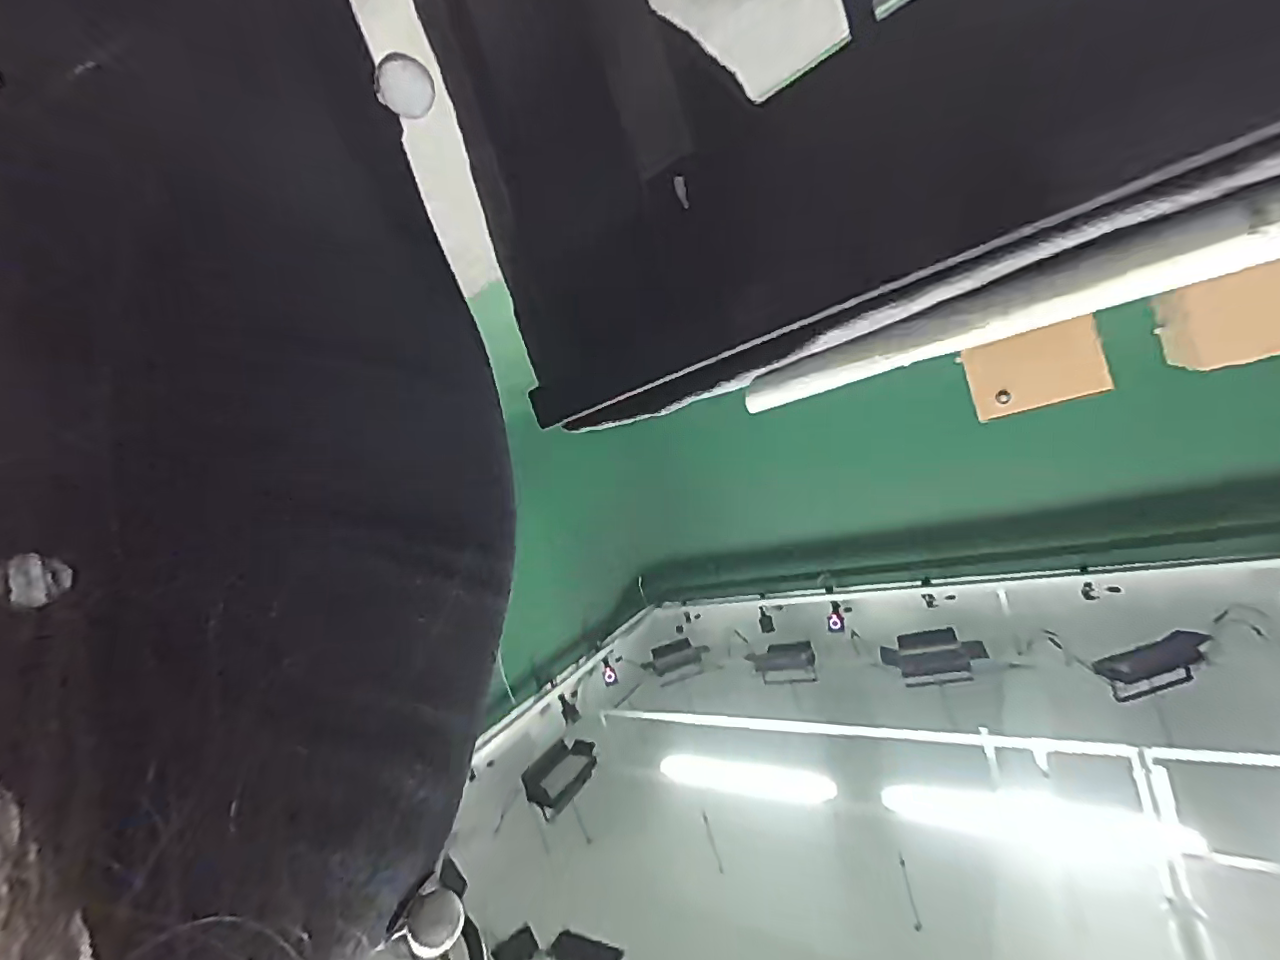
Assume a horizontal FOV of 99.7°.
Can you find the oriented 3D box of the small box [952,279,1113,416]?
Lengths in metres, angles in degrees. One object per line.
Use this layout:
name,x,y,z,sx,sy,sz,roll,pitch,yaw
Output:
small box,0.647,-0.223,0.910,0.179,0.176,0.168,-16,-175,33
